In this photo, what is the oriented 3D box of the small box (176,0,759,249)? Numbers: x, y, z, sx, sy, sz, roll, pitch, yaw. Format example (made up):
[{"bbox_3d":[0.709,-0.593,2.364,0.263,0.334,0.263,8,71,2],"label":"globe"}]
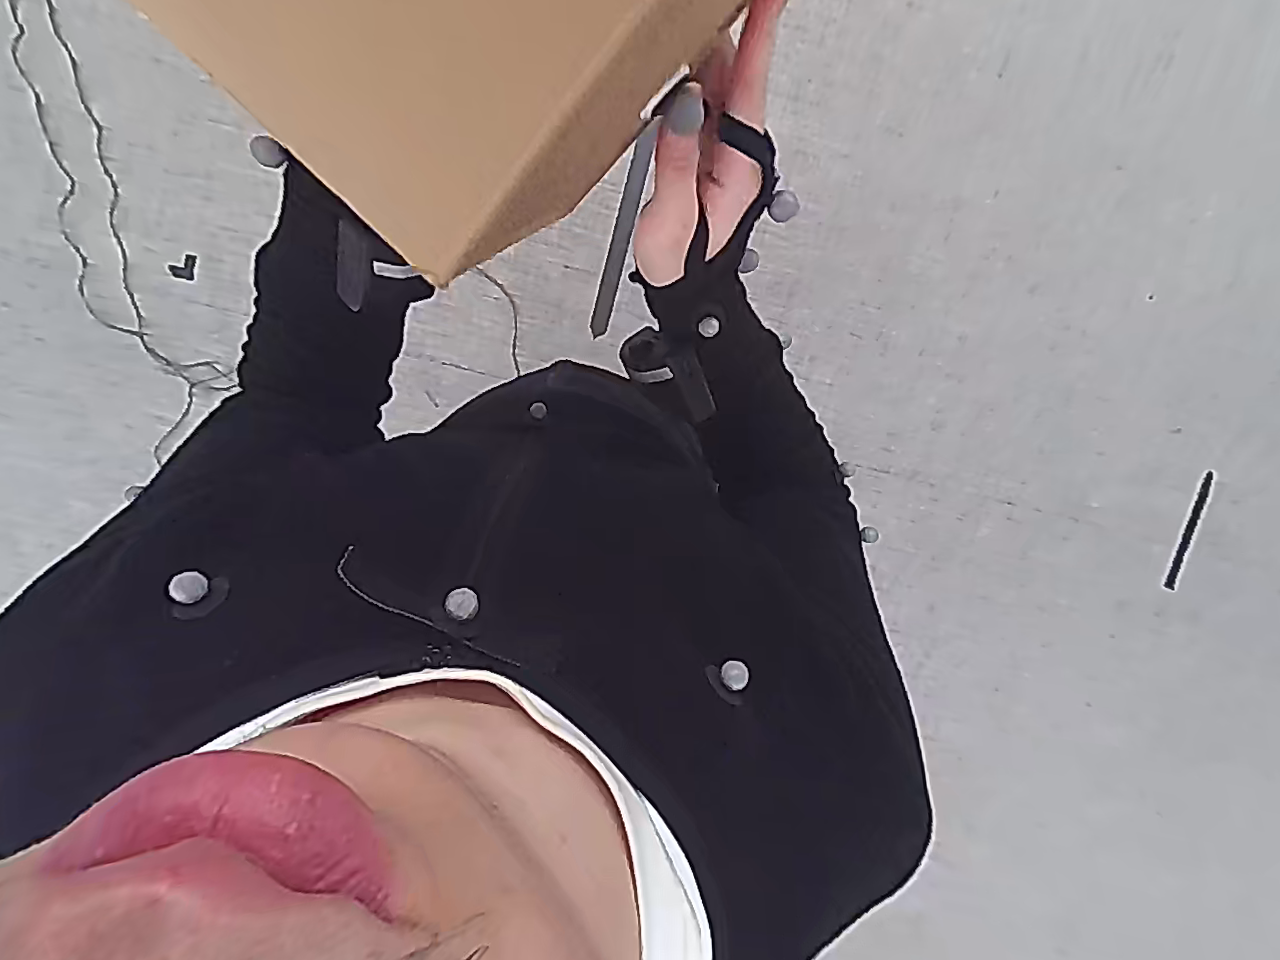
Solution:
[{"bbox_3d":[-0.045,-0.205,0.161,0.179,0.176,0.168,42,121,-17],"label":"small box"}]
